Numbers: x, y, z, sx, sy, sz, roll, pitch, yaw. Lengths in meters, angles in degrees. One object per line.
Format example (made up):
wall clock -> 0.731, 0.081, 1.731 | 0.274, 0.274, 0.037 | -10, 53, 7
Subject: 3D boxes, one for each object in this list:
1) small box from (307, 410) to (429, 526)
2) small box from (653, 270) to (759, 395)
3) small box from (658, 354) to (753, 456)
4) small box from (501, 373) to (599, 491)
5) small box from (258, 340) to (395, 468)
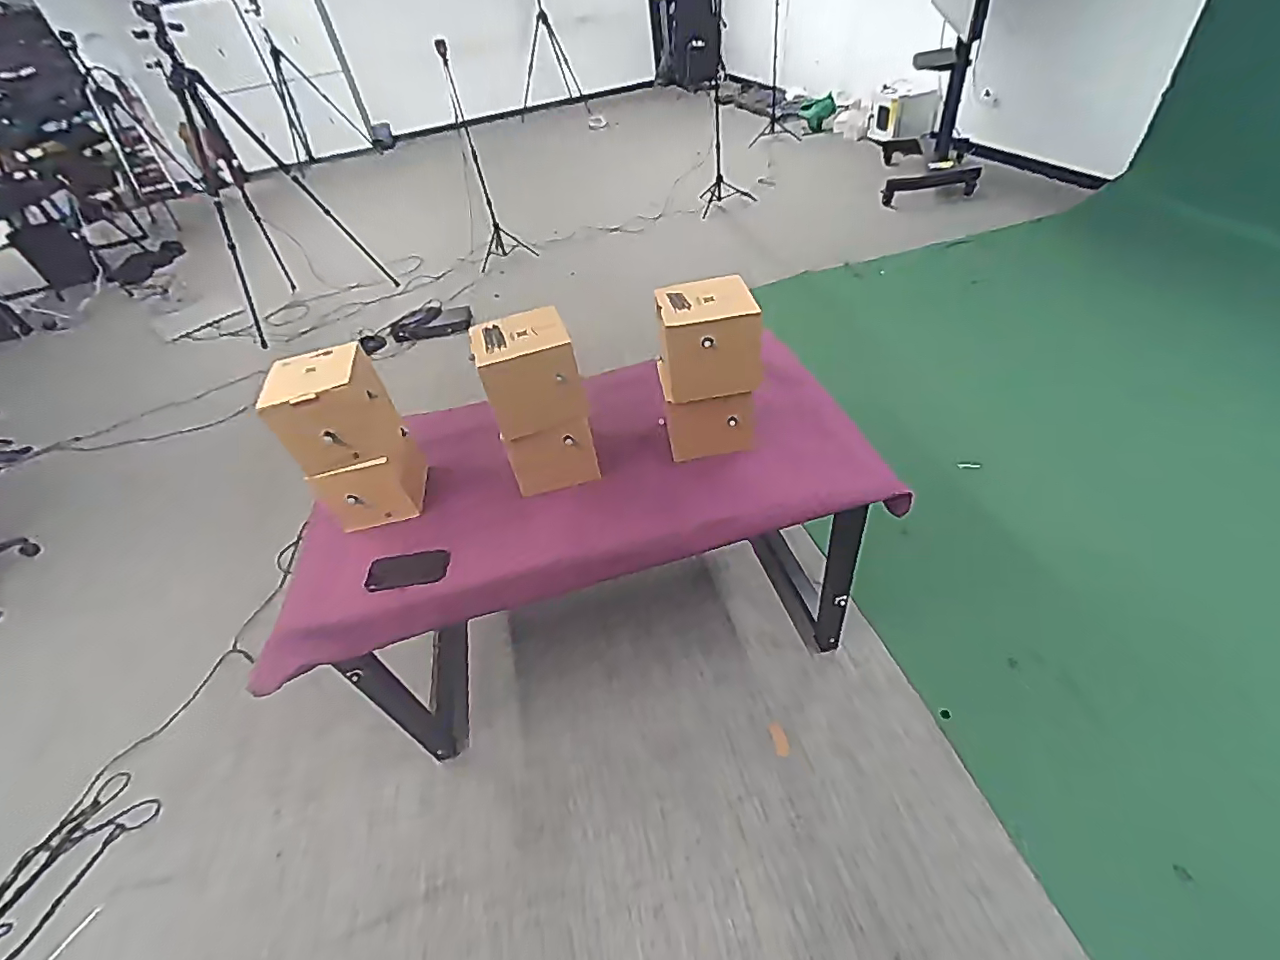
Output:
small box -> -0.573, -0.020, 1.168 | 0.168, 0.176, 0.179 | -14, 43, -2
small box -> 0.130, -0.283, 1.055 | 0.179, 0.176, 0.168 | -10, 43, 1
small box -> 0.142, -0.175, 1.178 | 0.179, 0.176, 0.168 | -10, 43, 2
small box -> -0.190, -0.102, 1.171 | 0.179, 0.176, 0.168 | -14, 43, -2
small box -> -0.599, -0.143, 1.061 | 0.168, 0.176, 0.179 | -17, 44, -7
